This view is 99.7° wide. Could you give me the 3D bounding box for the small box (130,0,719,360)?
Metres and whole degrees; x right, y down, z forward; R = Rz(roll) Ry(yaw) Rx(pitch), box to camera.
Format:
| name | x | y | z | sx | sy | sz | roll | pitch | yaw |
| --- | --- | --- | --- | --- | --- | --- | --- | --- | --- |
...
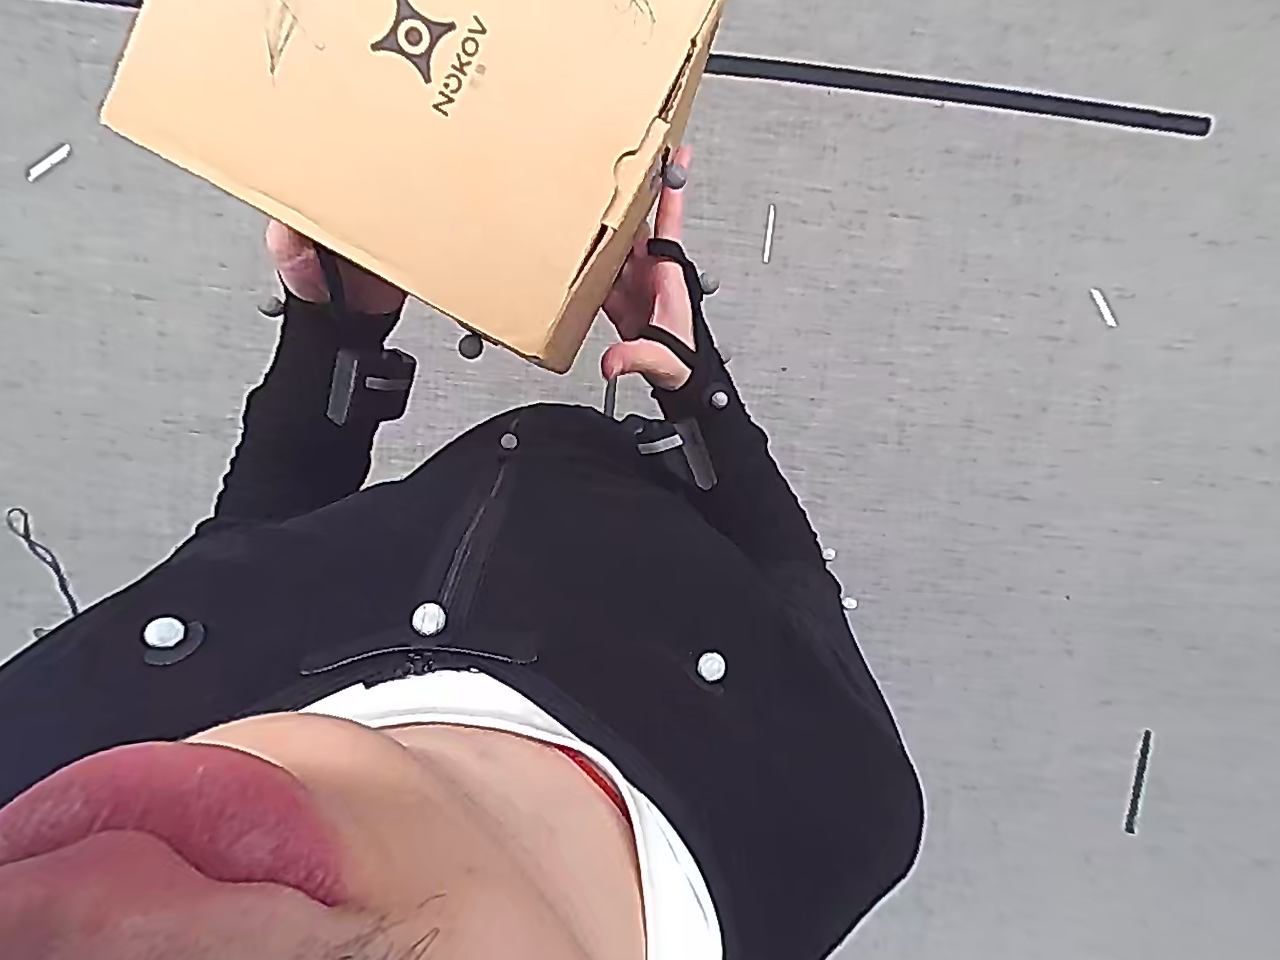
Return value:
| name | x | y | z | sx | sy | sz | roll | pitch | yaw |
| --- | --- | --- | --- | --- | --- | --- | --- | --- | --- |
| small box | -0.087 | -0.175 | 0.288 | 0.179 | 0.176 | 0.168 | 27 | 95 | -8 |
